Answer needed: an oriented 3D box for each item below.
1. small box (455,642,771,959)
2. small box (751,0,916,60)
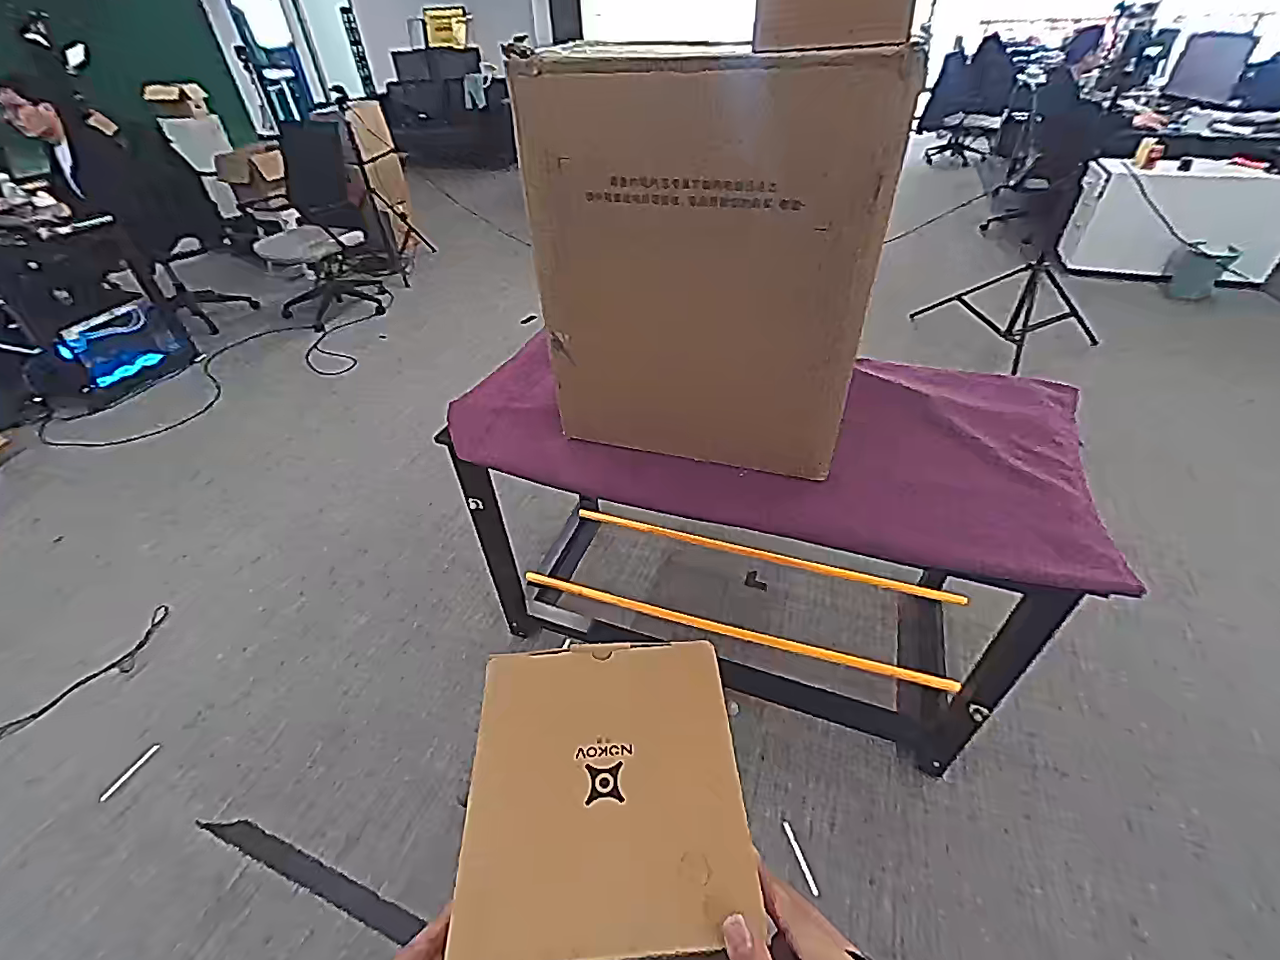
[{"bbox_3d":[-0.016,0.243,0.386,0.168,0.176,0.179,-4,41,-3],"label":"small box"},{"bbox_3d":[0.227,-0.594,0.618,0.179,0.176,0.168,8,42,15],"label":"small box"}]
